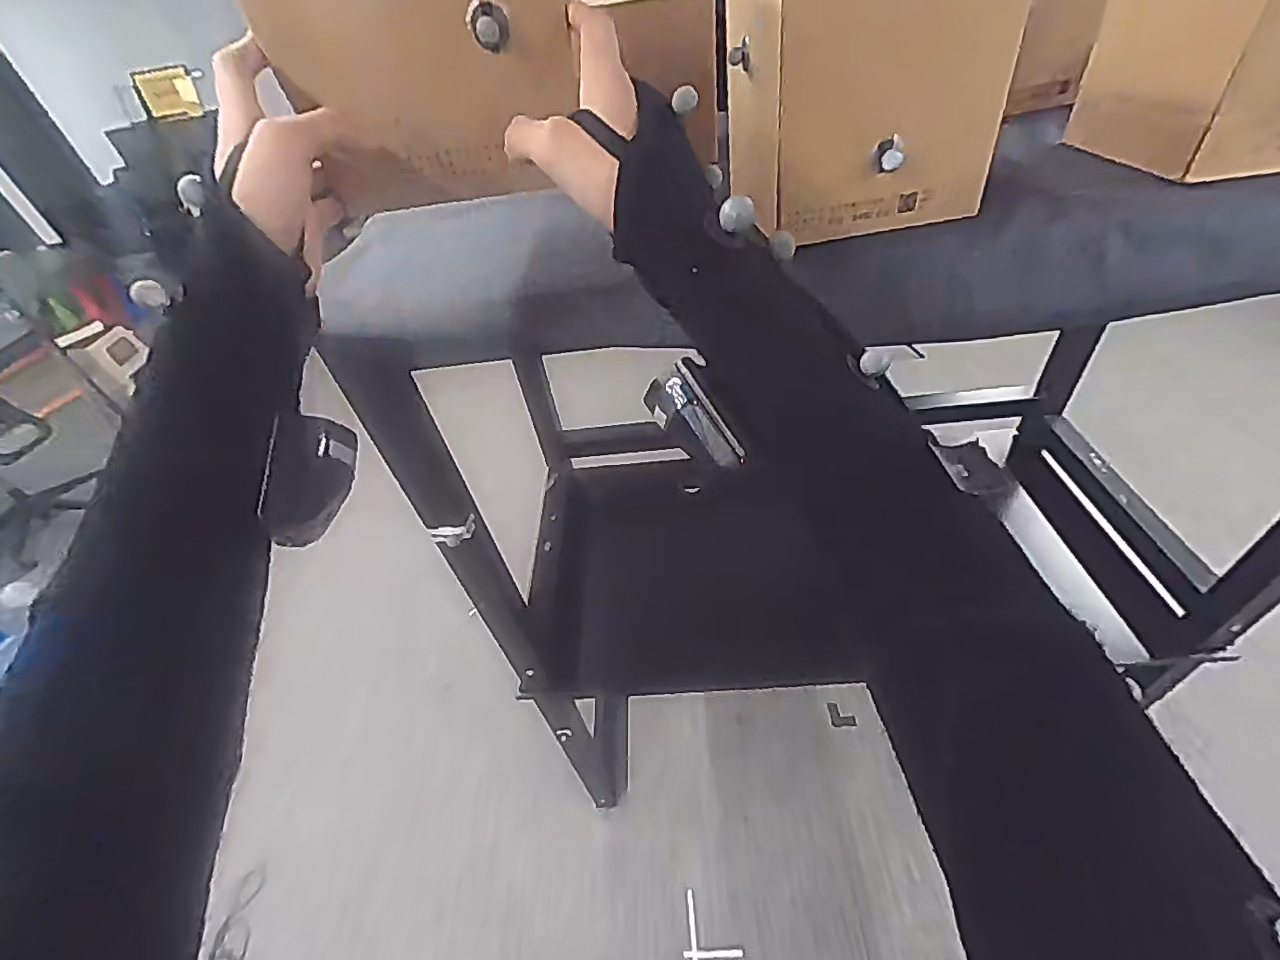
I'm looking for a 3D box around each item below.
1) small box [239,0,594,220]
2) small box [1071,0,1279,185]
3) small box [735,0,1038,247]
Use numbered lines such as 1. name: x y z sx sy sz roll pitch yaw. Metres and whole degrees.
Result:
1. small box: -0.125 -0.297 0.356 0.179 0.176 0.168 -7 50 2
2. small box: 0.510 -0.358 0.442 0.168 0.176 0.179 -6 42 5
3. small box: 0.177 -0.311 0.450 0.168 0.176 0.179 -10 40 1
